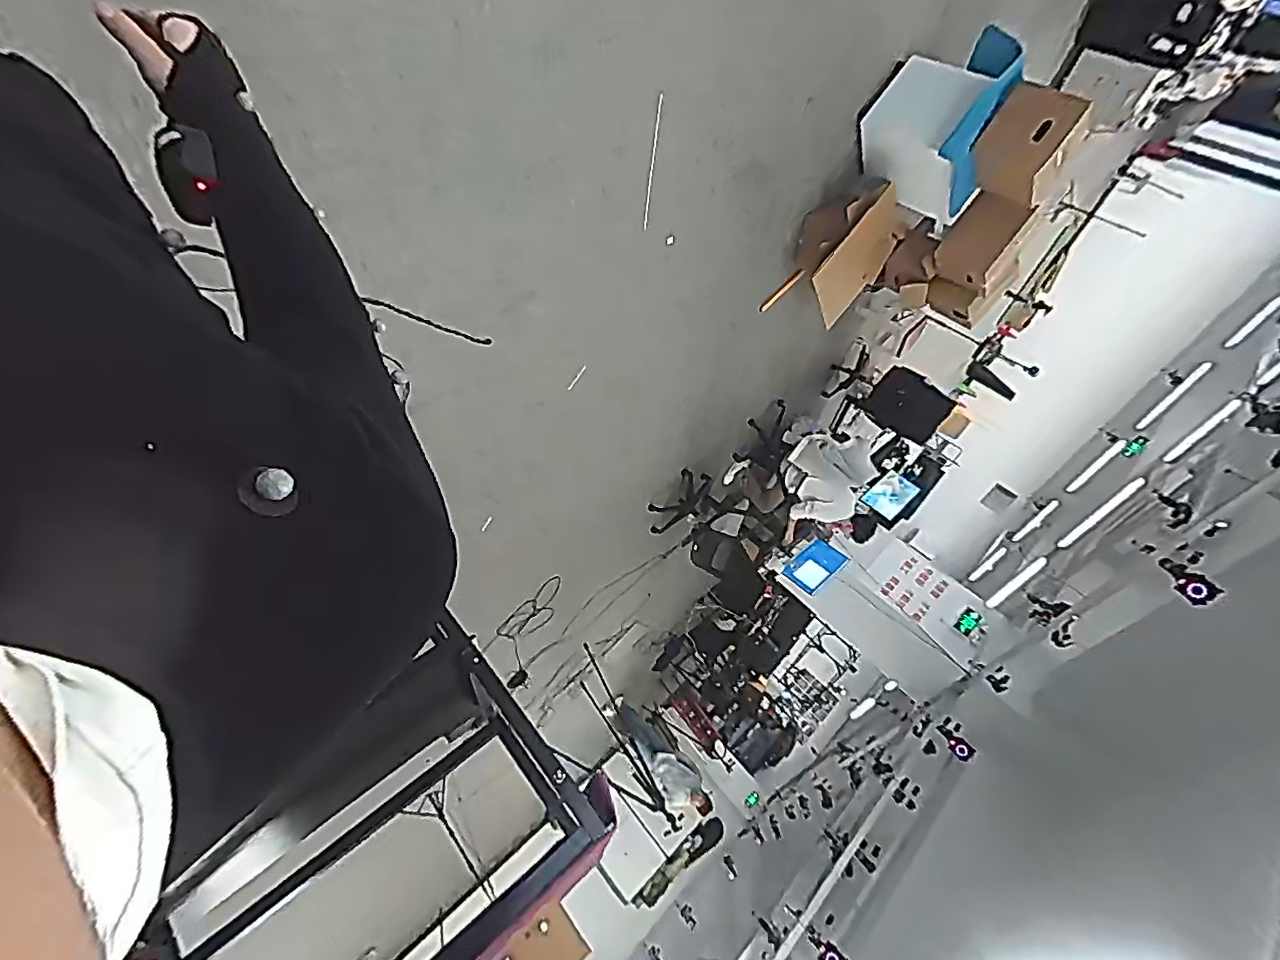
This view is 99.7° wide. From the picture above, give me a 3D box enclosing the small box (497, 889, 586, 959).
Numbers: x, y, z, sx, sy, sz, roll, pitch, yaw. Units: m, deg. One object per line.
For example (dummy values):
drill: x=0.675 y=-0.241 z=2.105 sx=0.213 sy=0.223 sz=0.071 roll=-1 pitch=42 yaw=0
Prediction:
small box: x=-0.269 y=1.247 z=1.453 sx=0.168 sy=0.176 sz=0.179 roll=-30 pitch=150 yaw=-34
